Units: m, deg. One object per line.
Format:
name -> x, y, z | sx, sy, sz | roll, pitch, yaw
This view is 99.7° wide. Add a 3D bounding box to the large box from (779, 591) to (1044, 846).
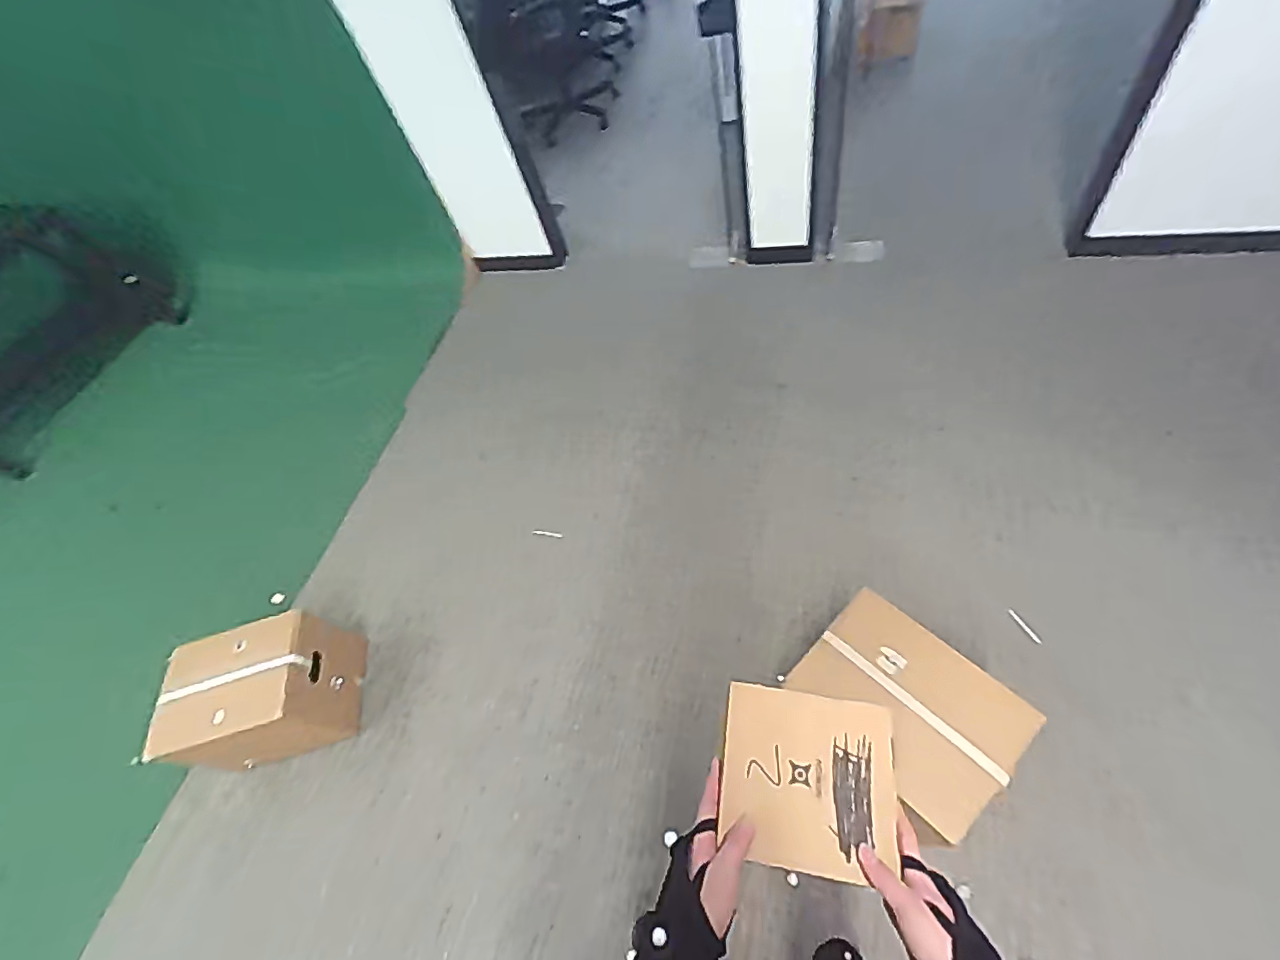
large box -> 0.576, 0.534, 1.225 | 0.320, 0.320, 0.408 | -42, 56, -14
